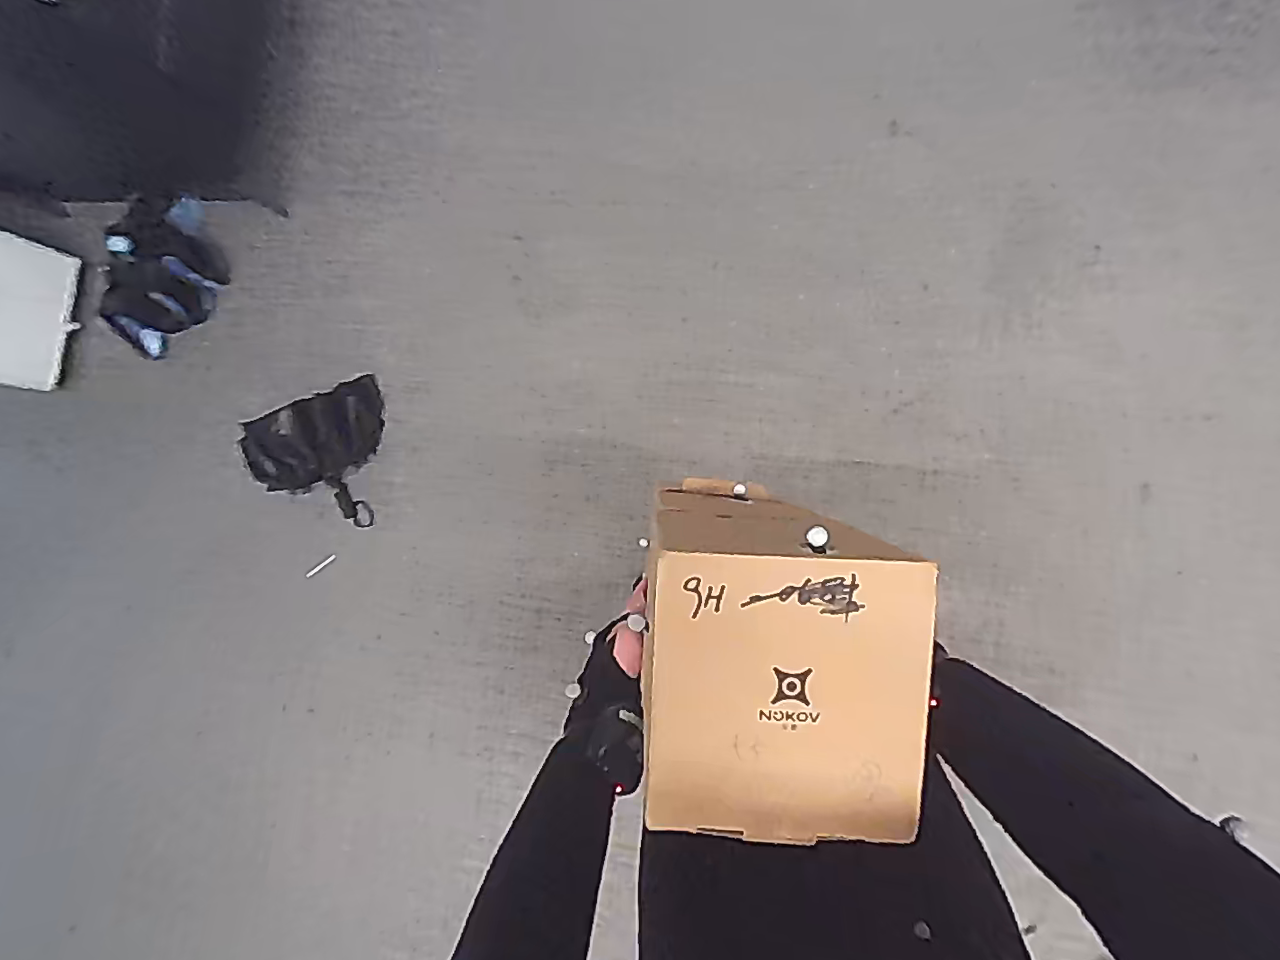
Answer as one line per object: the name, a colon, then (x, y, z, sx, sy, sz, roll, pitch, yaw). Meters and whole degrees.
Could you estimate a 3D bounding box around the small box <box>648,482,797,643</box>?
small box: (0.101, 0.098, 0.723, 0.168, 0.176, 0.179, 5, 94, 3)
